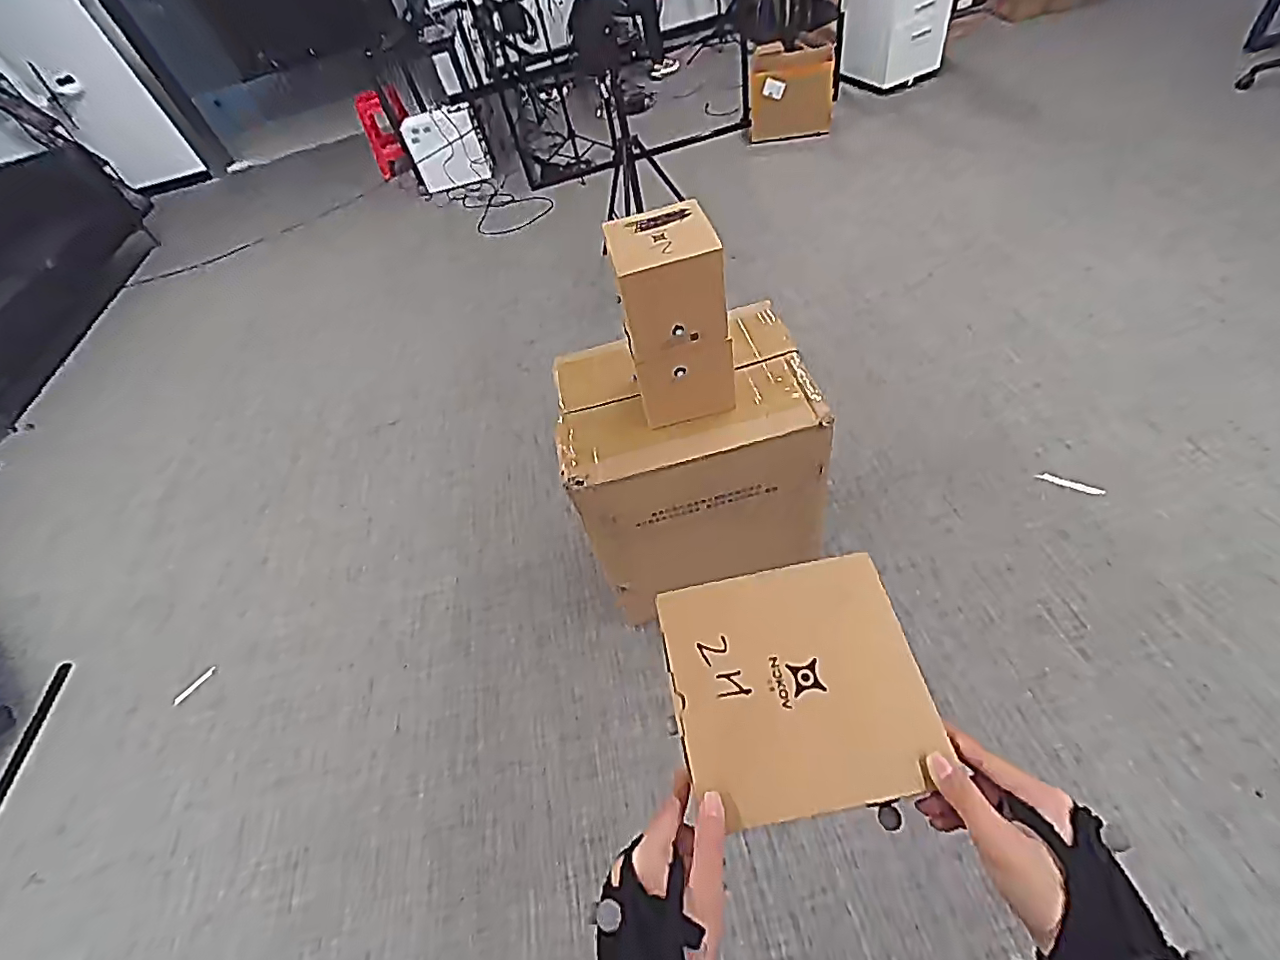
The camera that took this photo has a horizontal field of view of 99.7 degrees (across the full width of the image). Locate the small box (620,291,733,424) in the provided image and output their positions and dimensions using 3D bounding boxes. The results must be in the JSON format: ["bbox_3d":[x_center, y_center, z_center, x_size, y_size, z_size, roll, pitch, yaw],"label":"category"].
[{"bbox_3d":[0.073,-0.231,1.046,0.179,0.176,0.168,-14,50,2],"label":"small box"}]

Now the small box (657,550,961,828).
[{"bbox_3d":[0.118,0.179,0.454,0.179,0.176,0.168,-12,57,1],"label":"small box"}]
